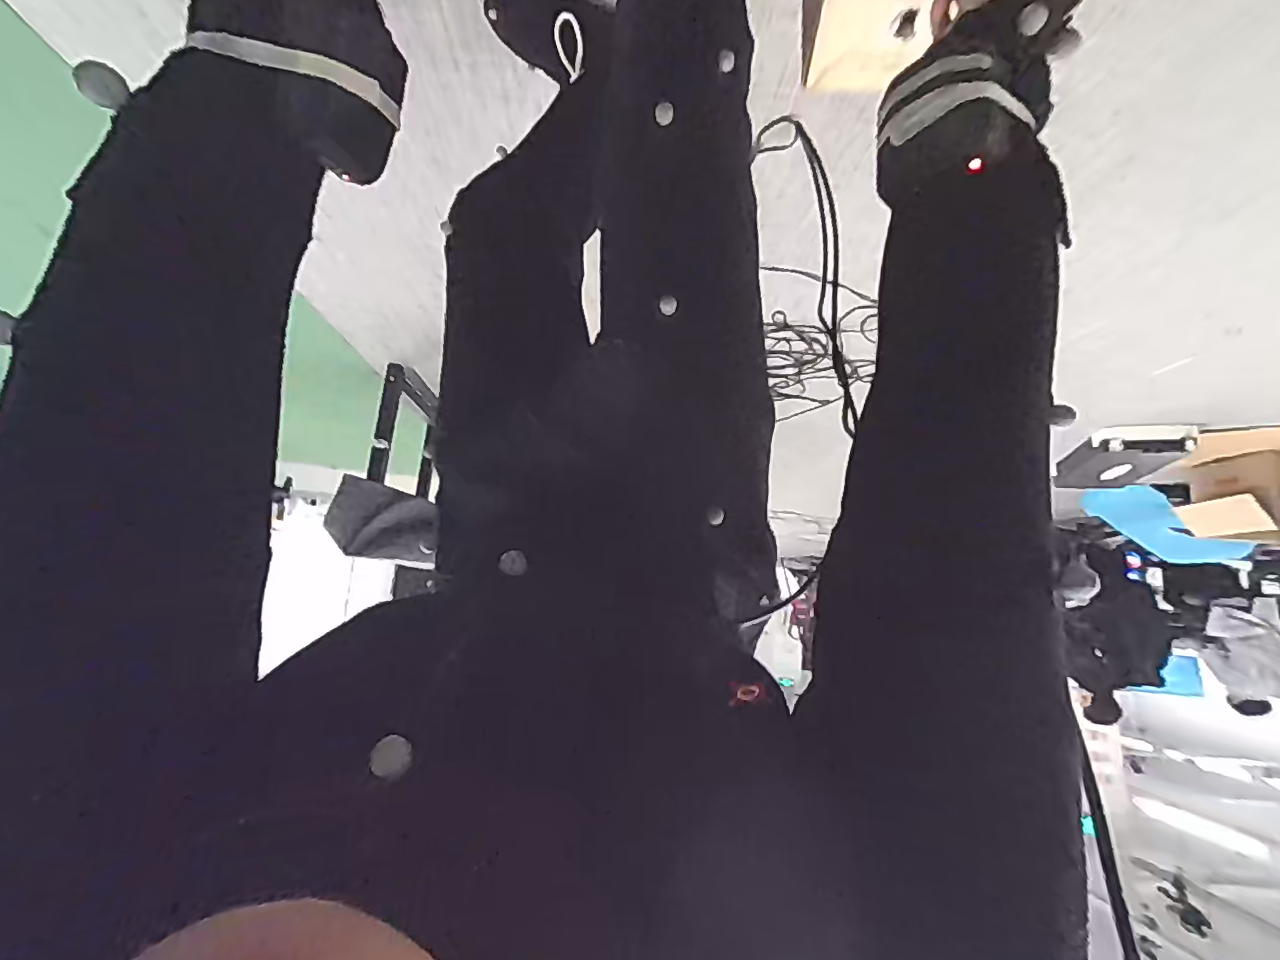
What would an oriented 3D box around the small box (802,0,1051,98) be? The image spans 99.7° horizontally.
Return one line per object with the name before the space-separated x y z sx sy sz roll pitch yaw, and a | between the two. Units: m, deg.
small box | 0.219 -0.430 0.404 0.168 0.179 0.176 2 168 6
